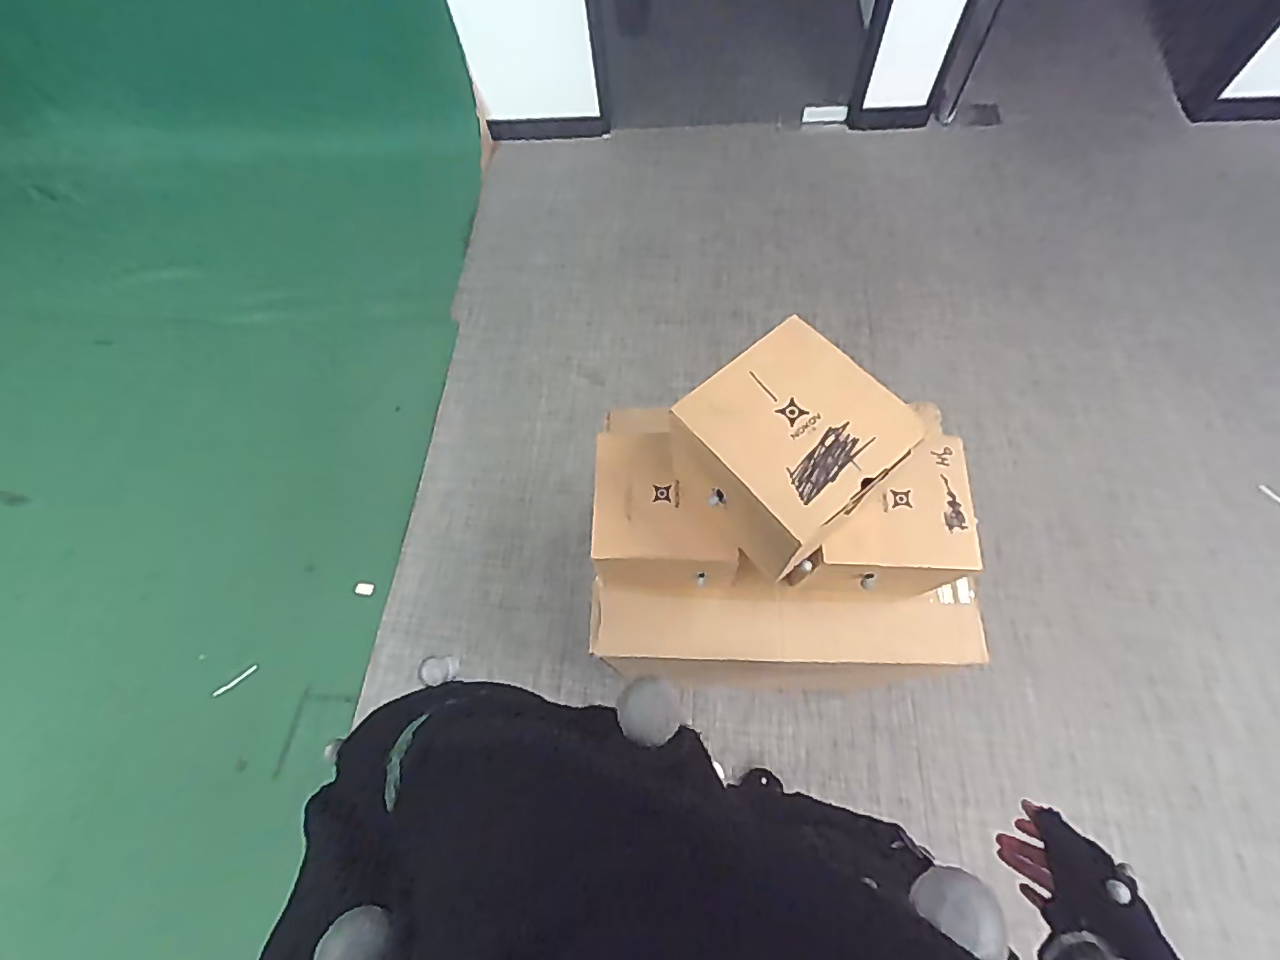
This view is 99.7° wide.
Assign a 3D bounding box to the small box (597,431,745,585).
[{"bbox_3d":[0.043,0.044,0.733,0.179,0.176,0.168,-1,67,5],"label":"small box"}]

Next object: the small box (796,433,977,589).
[{"bbox_3d":[0.303,0.046,0.712,0.179,0.176,0.168,1,70,6],"label":"small box"}]

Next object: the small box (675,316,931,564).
[{"bbox_3d":[0.156,-0.028,0.575,0.168,0.176,0.179,-38,69,-10],"label":"small box"}]
